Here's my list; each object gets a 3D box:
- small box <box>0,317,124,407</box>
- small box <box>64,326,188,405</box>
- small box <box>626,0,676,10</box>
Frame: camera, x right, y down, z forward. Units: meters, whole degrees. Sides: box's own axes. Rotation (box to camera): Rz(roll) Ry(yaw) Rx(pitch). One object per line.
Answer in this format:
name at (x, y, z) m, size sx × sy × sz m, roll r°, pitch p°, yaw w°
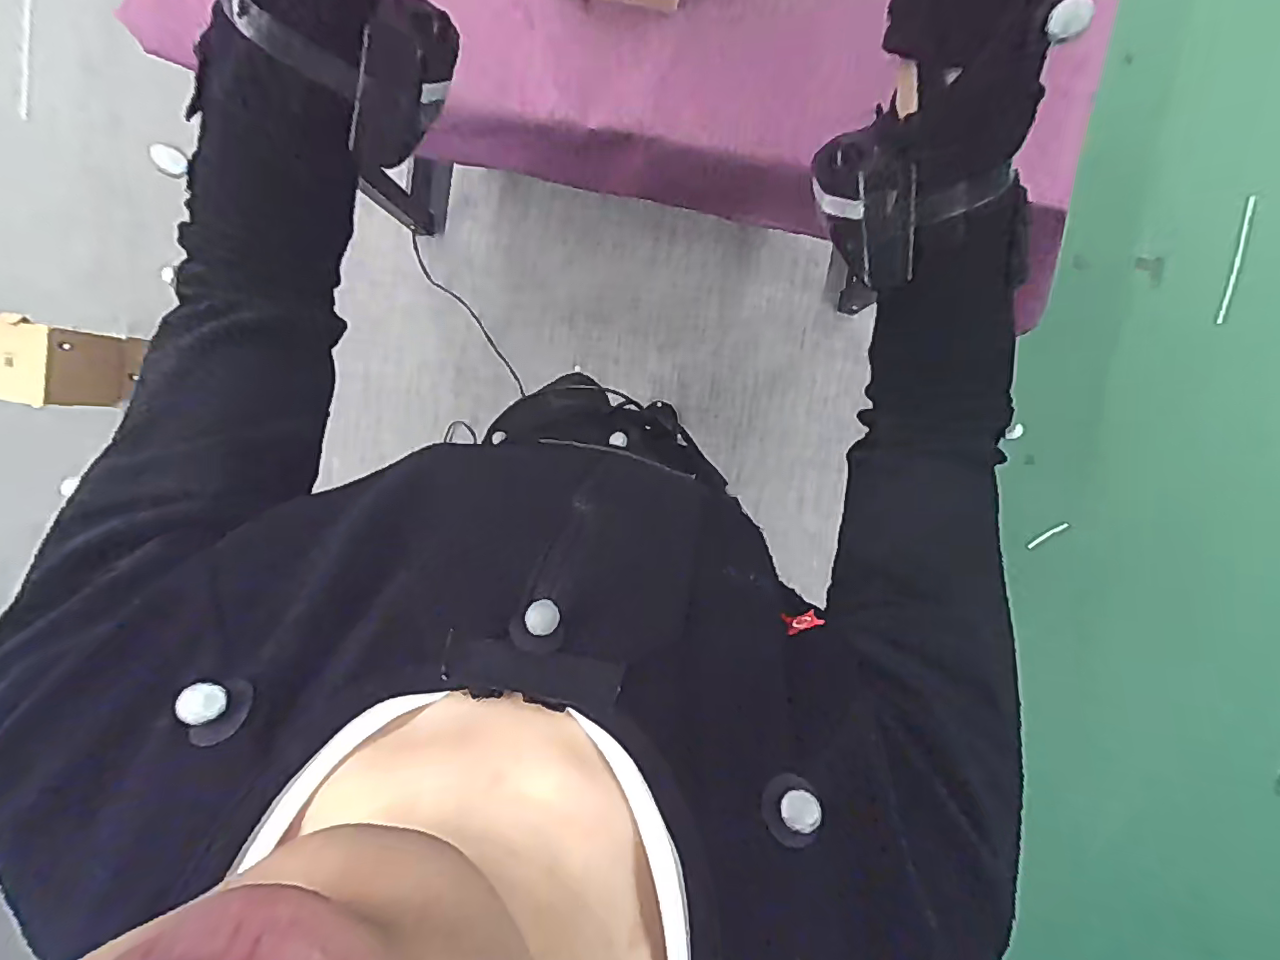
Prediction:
small box at (-1.346, -0.265, 1.243) m, size 0.168 × 0.176 × 0.179 m, roll 8°, pitch 95°, yaw 1°
small box at (-1.337, -0.290, 1.404) m, size 0.179 × 0.176 × 0.168 m, roll 8°, pitch 95°, yaw 2°
small box at (-0.021, -0.682, 0.600) m, size 0.168 × 0.176 × 0.179 m, roll 12°, pitch 95°, yaw 1°
